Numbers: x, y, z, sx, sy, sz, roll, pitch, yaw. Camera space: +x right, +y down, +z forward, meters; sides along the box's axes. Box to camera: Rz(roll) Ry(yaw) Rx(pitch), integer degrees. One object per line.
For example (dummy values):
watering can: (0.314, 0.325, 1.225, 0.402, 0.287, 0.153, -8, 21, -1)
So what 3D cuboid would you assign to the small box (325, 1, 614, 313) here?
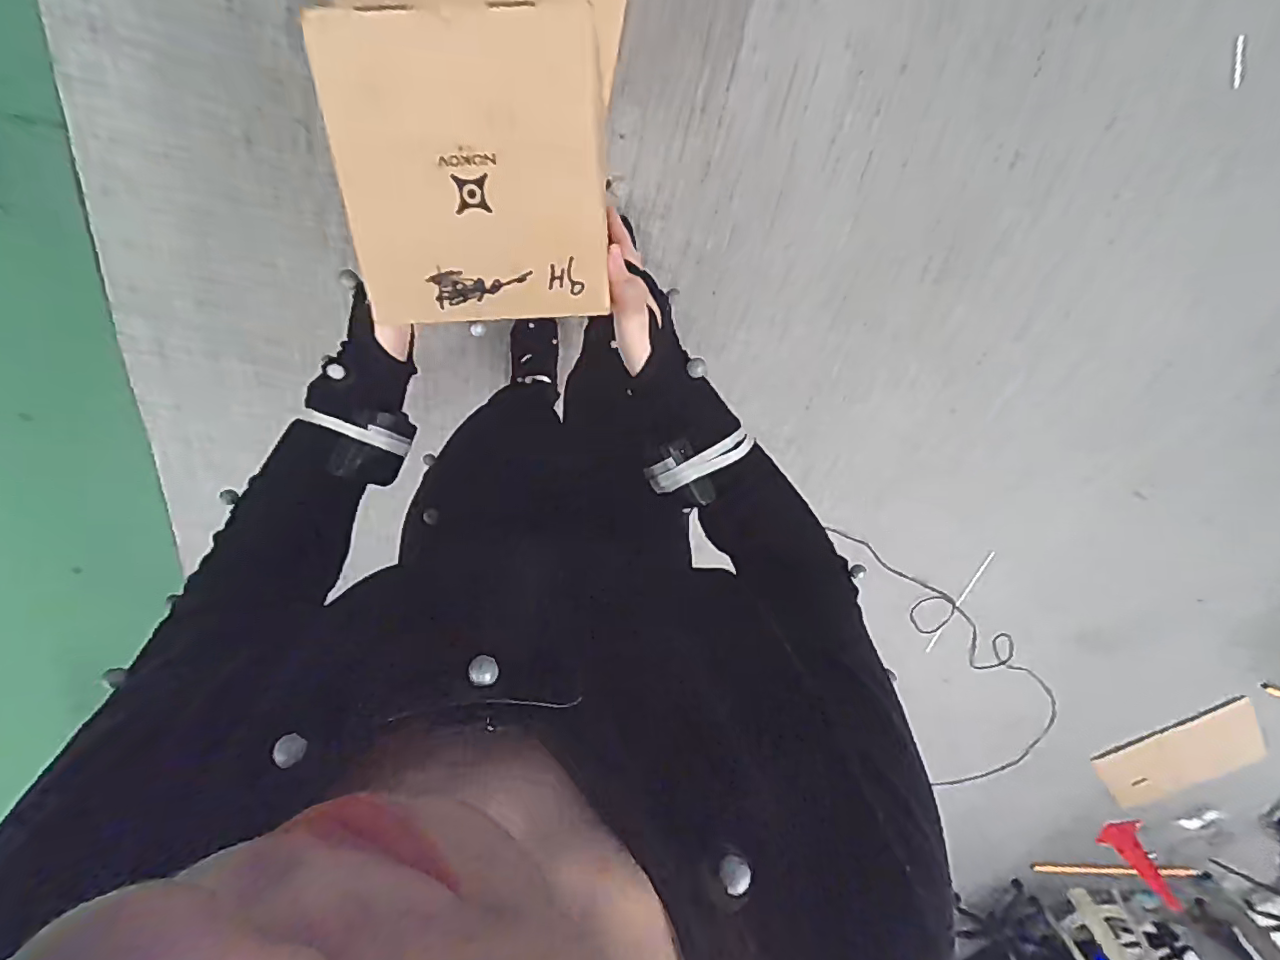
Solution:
small box: (-0.106, -0.229, 0.422, 0.168, 0.176, 0.179, -2, 114, -2)
